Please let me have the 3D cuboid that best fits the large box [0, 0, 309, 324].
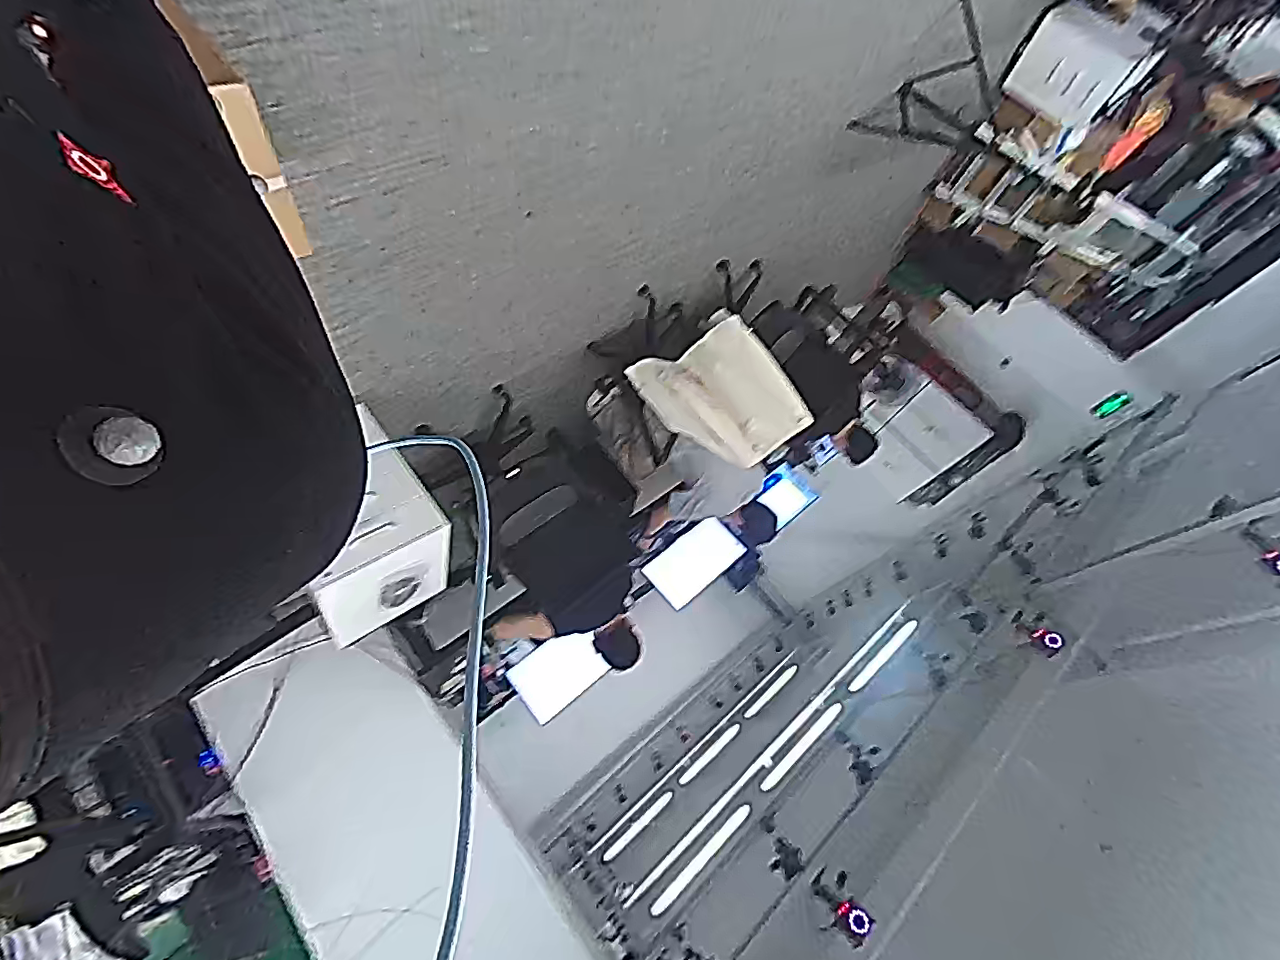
[{"bbox_3d":[-0.866,-0.534,0.887,0.408,0.320,0.320,-34,164,-26],"label":"large box"}]
